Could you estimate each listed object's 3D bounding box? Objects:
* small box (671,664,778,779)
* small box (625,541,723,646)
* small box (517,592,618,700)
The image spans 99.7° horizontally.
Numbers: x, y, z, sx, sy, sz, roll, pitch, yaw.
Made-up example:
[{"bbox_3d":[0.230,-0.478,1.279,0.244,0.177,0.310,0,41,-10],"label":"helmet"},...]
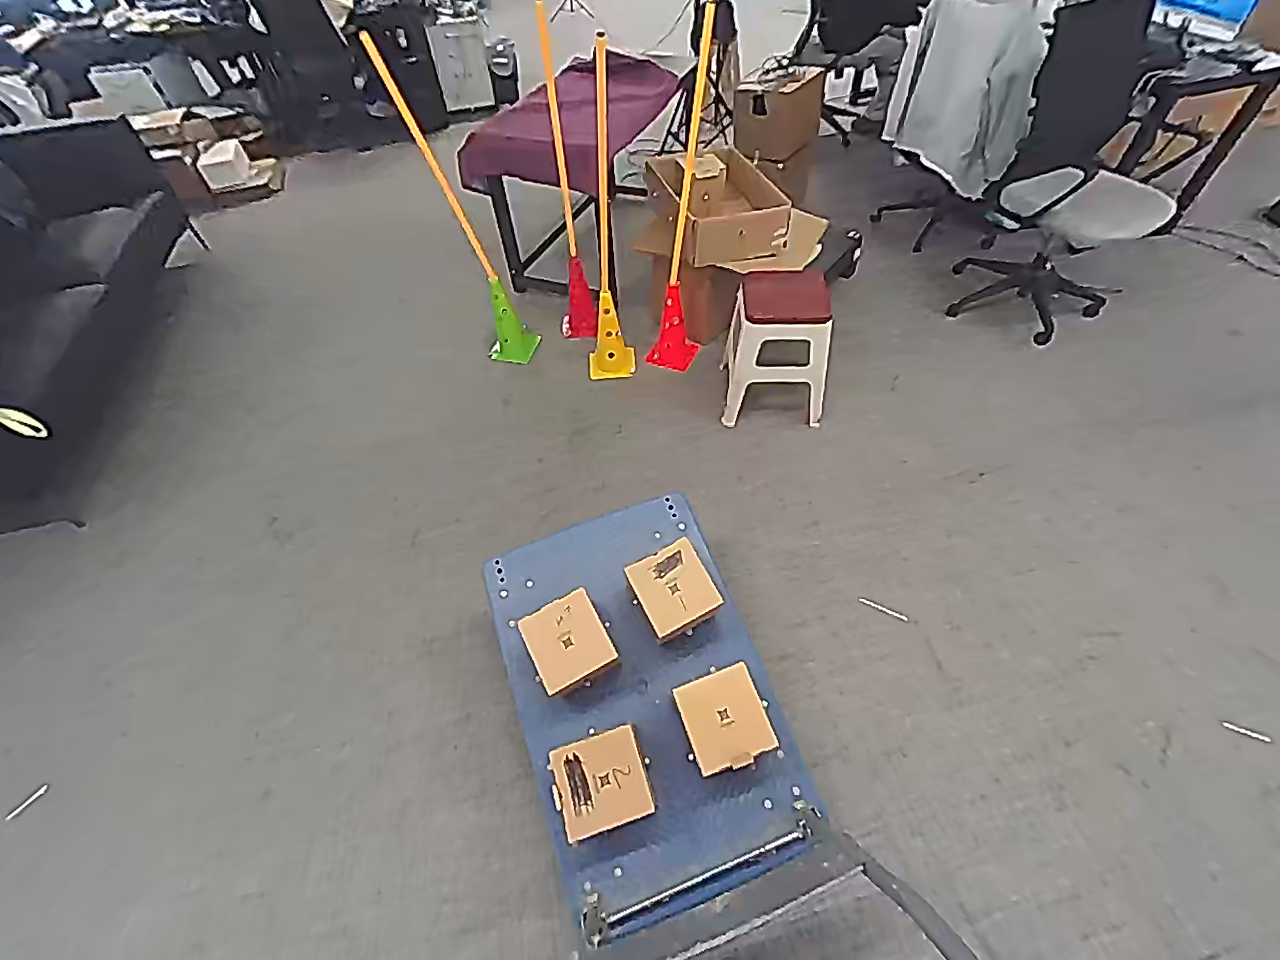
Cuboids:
[{"bbox_3d":[0.173,0.521,1.177,0.168,0.176,0.179,-19,69,-7],"label":"small box"},{"bbox_3d":[0.074,0.274,1.282,0.168,0.176,0.179,-26,70,-9],"label":"small box"},{"bbox_3d":[-0.159,0.383,1.240,0.168,0.176,0.179,-26,69,-11],"label":"small box"}]
